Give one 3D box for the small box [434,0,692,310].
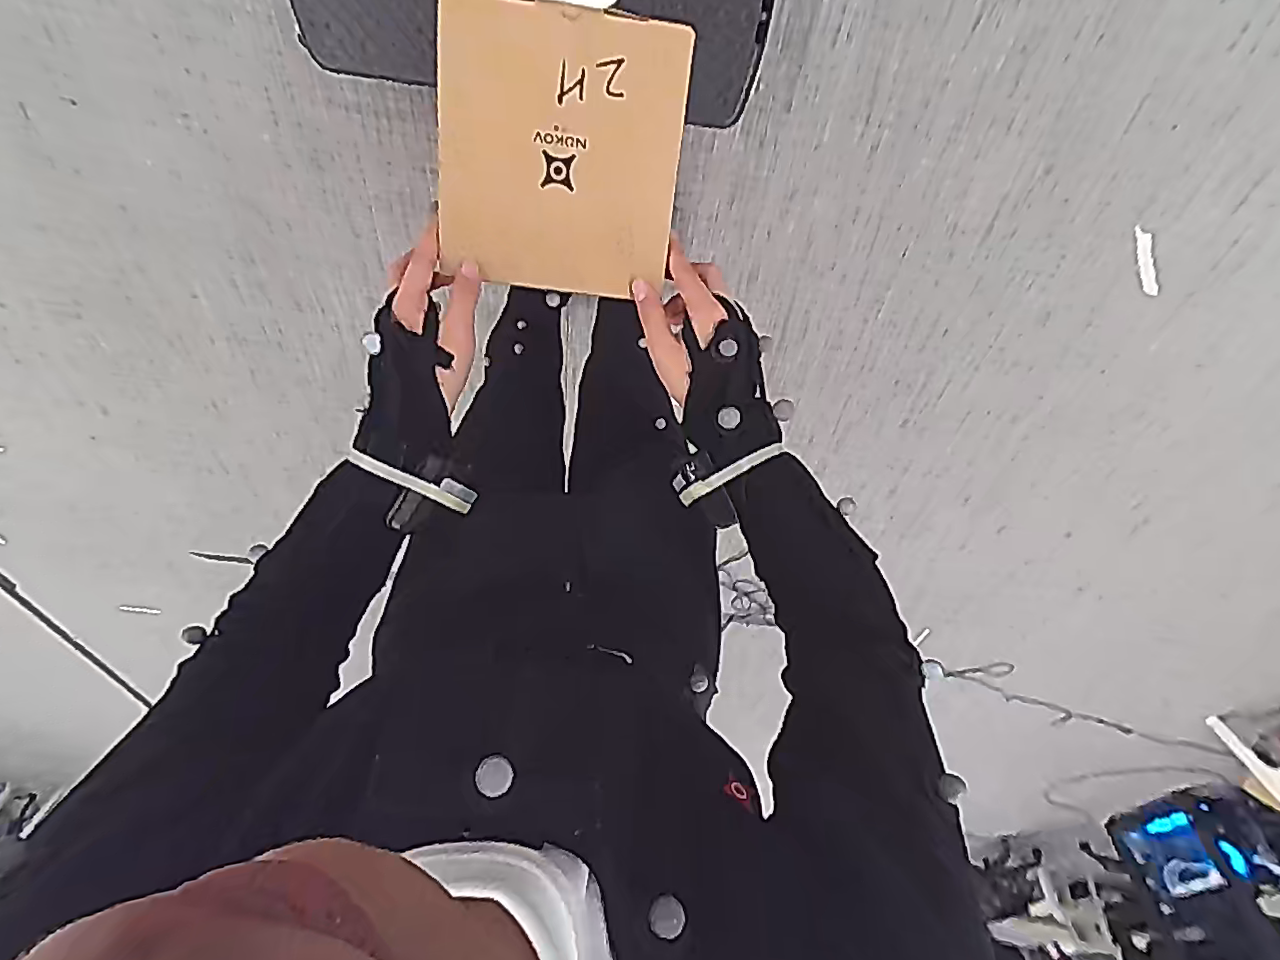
[{"bbox_3d":[-0.061,-0.242,0.443,0.168,0.176,0.179,5,109,-6],"label":"small box"}]
